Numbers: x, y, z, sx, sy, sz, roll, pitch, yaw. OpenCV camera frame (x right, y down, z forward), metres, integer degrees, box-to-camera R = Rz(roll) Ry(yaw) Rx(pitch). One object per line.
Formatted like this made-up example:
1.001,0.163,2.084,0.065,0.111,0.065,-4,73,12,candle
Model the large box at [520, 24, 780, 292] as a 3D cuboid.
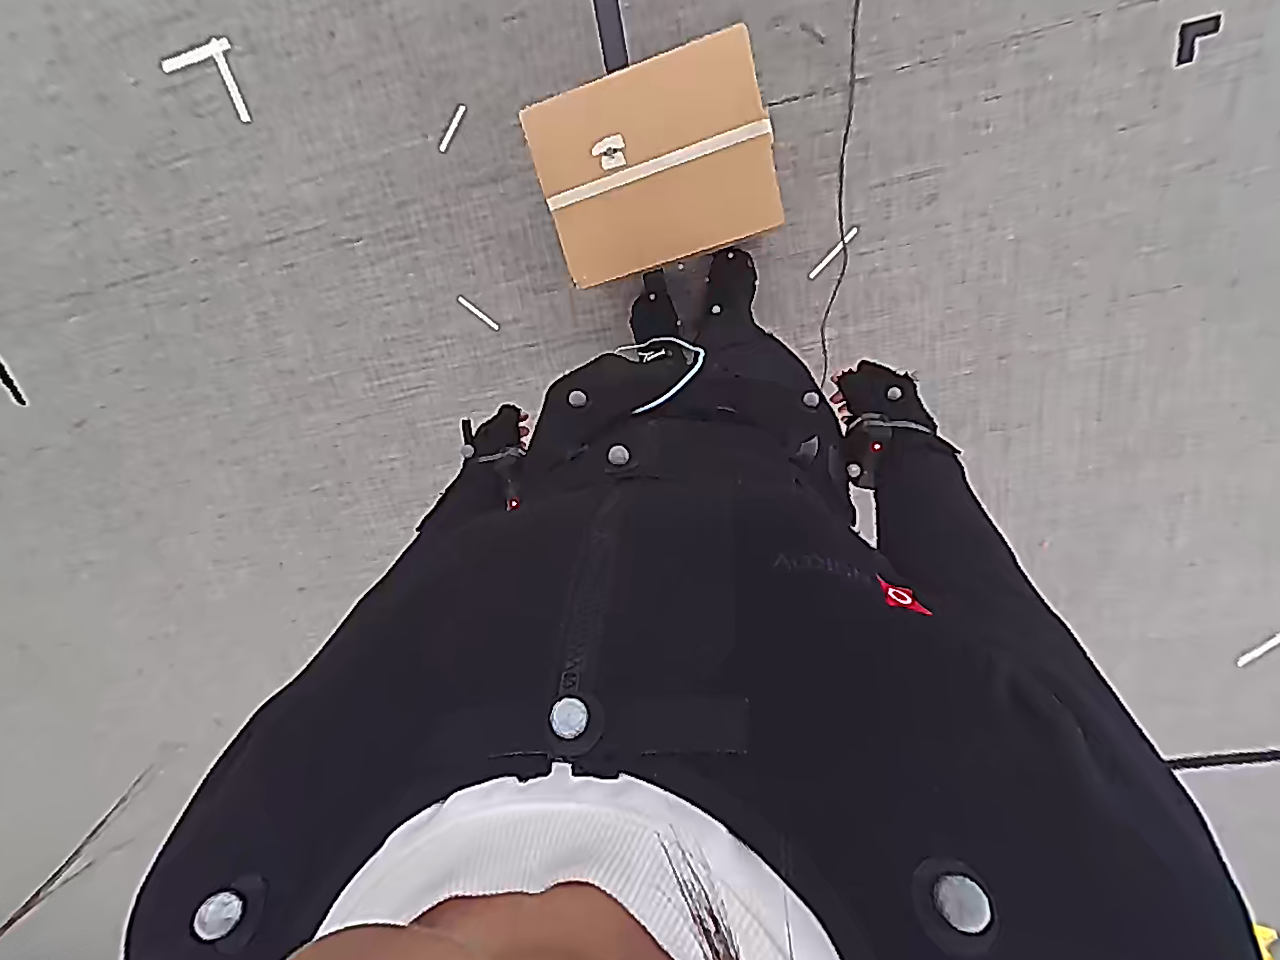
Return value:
0.034,-0.602,1.091,0.408,0.320,0.320,-14,108,11,large box
